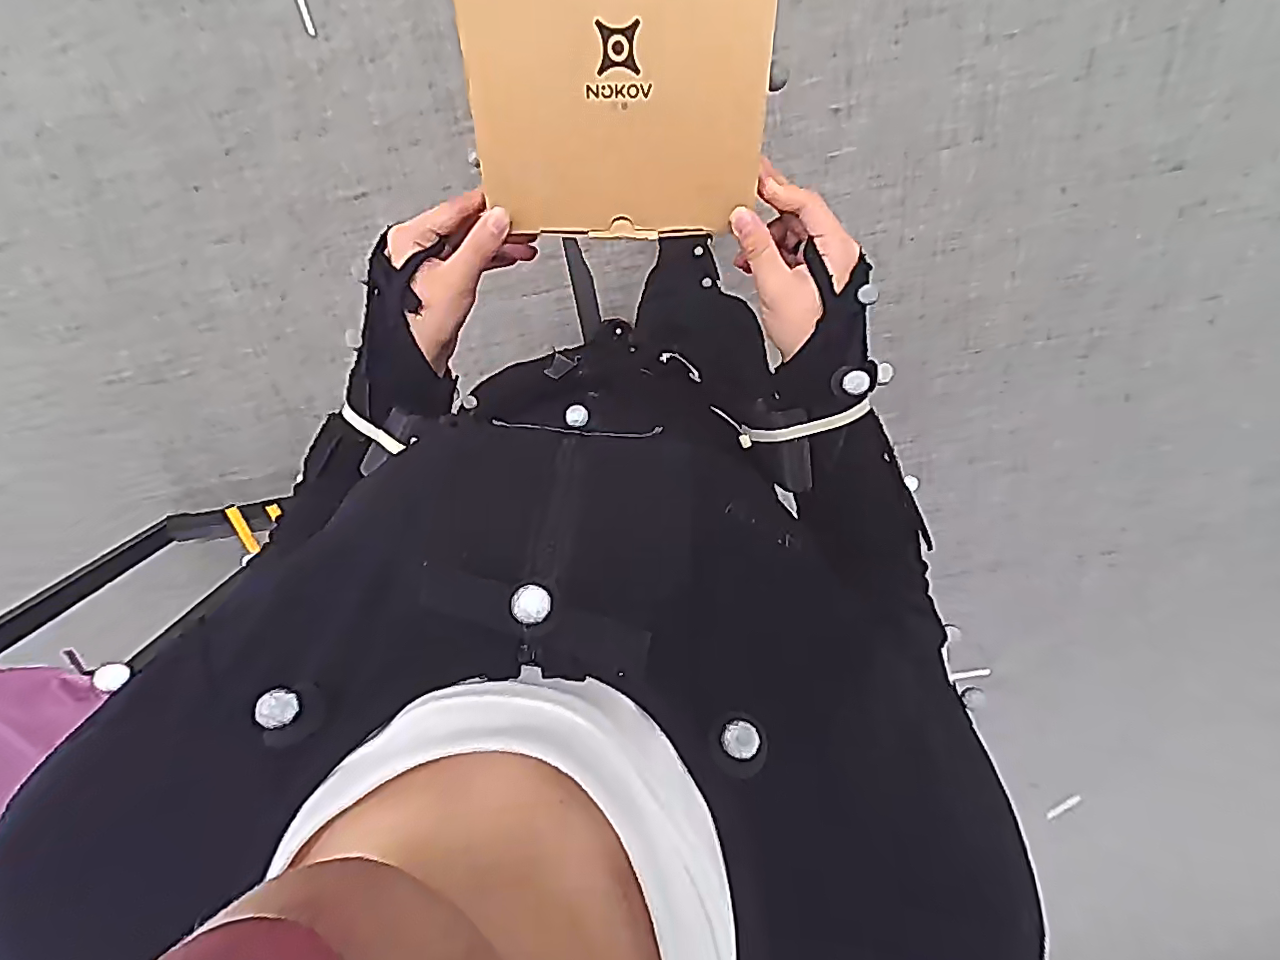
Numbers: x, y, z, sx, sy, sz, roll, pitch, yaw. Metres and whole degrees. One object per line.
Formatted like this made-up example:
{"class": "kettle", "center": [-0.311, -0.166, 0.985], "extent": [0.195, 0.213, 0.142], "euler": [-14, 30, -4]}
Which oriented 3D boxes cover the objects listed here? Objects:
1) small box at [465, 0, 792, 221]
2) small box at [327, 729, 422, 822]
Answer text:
{"class": "small box", "center": [-0.007, -0.274, 0.339], "extent": [0.168, 0.176, 0.179], "euler": [-1, 128, 0]}
{"class": "small box", "center": [-0.787, 0.881, 1.622], "extent": [0.179, 0.176, 0.168], "euler": [-11, 114, 3]}
